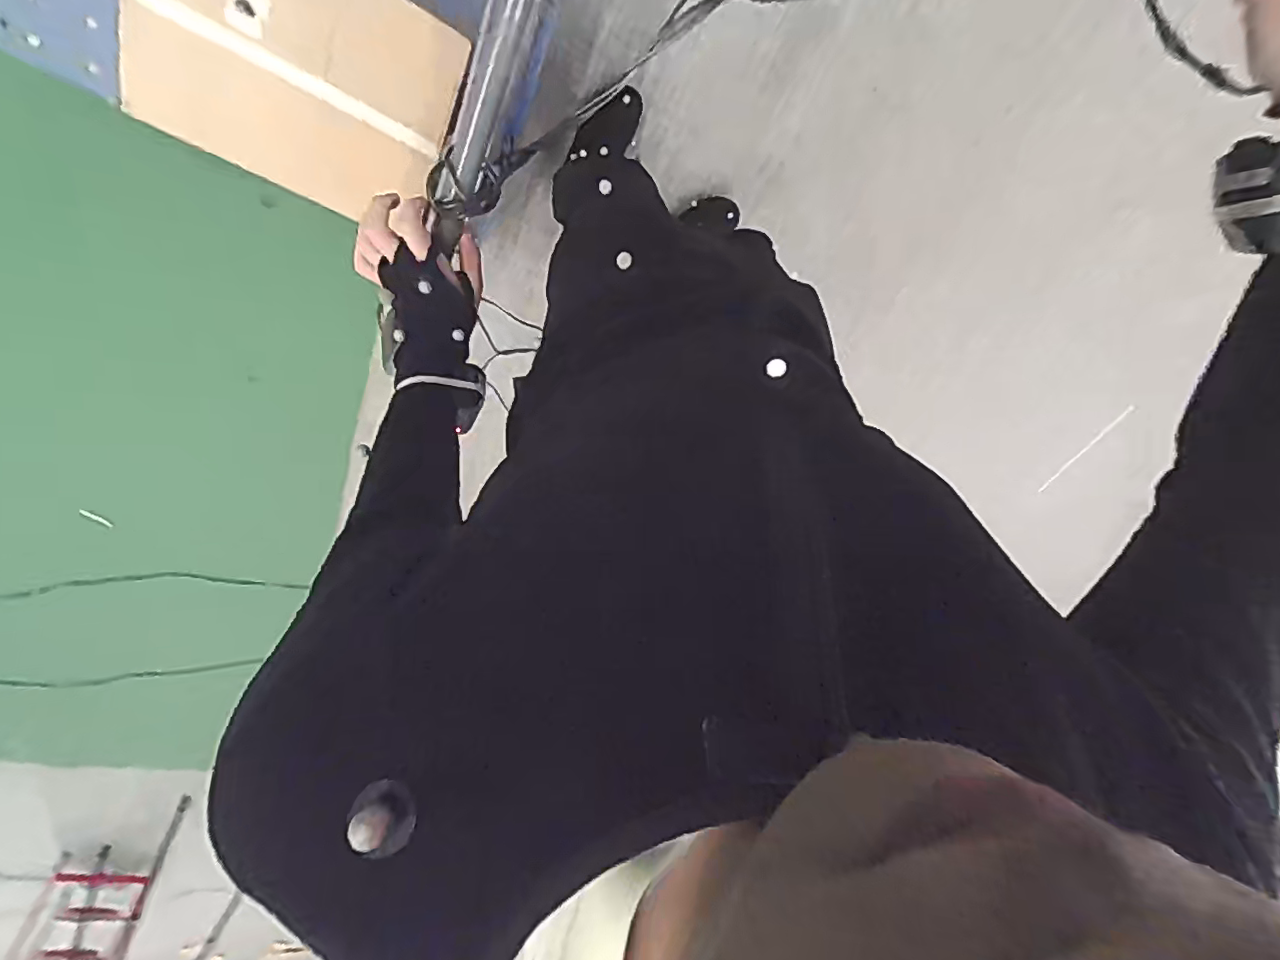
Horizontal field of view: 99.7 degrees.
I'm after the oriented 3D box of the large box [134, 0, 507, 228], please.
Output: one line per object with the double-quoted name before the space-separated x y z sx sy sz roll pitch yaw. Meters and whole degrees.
"large box" -0.470 -0.688 0.869 0.408 0.320 0.320 24 122 -24
